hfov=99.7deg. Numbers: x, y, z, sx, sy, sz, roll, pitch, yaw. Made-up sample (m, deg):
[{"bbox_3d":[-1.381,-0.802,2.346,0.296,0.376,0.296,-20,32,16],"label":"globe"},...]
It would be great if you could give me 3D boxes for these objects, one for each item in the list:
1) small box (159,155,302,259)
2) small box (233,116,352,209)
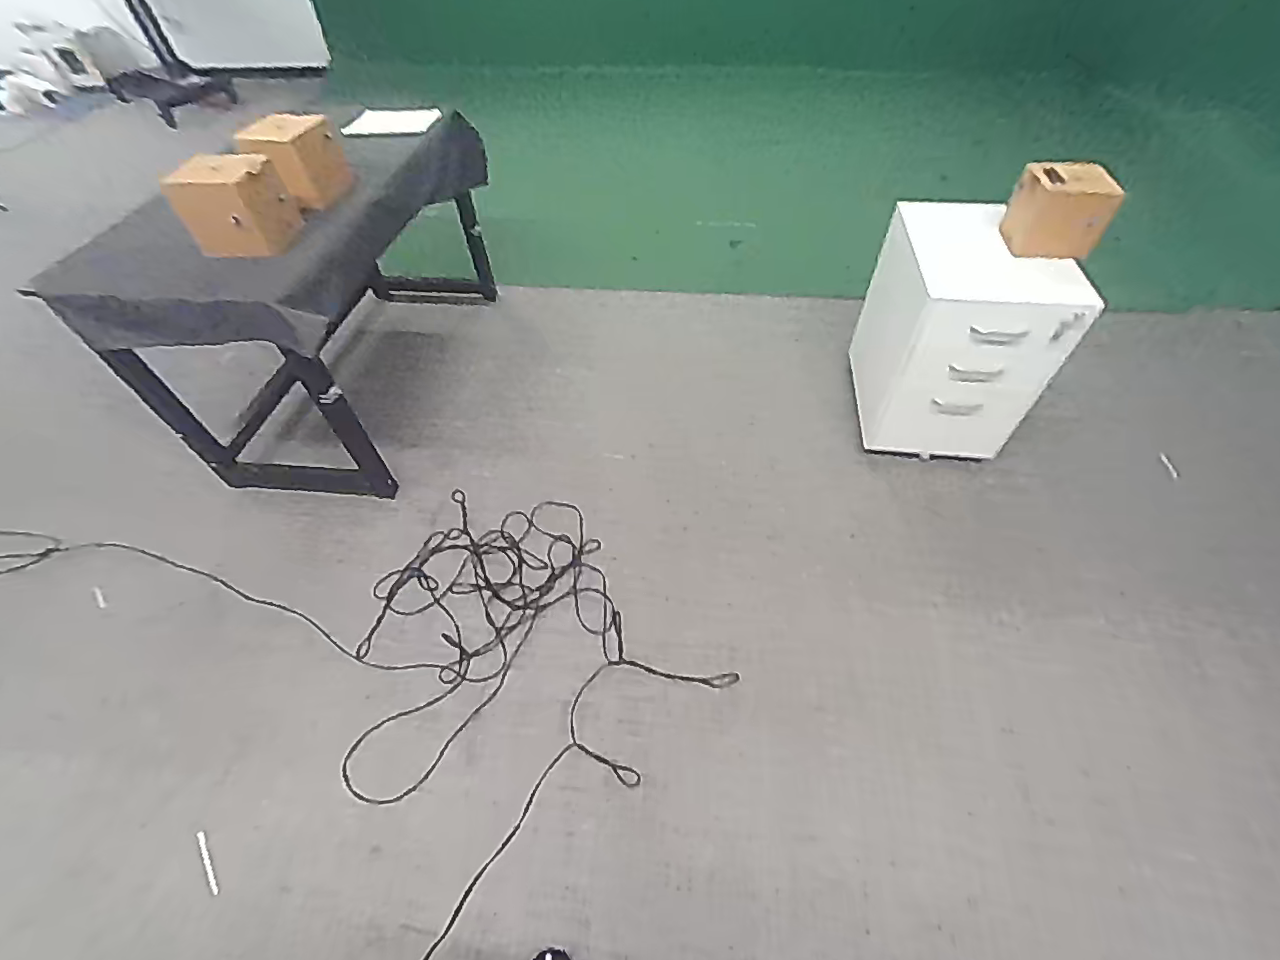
[{"bbox_3d":[-0.938,-0.634,1.263,0.179,0.176,0.168,-1,49,3],"label":"small box"},{"bbox_3d":[-0.901,-0.834,1.425,0.168,0.176,0.179,6,51,8],"label":"small box"}]
